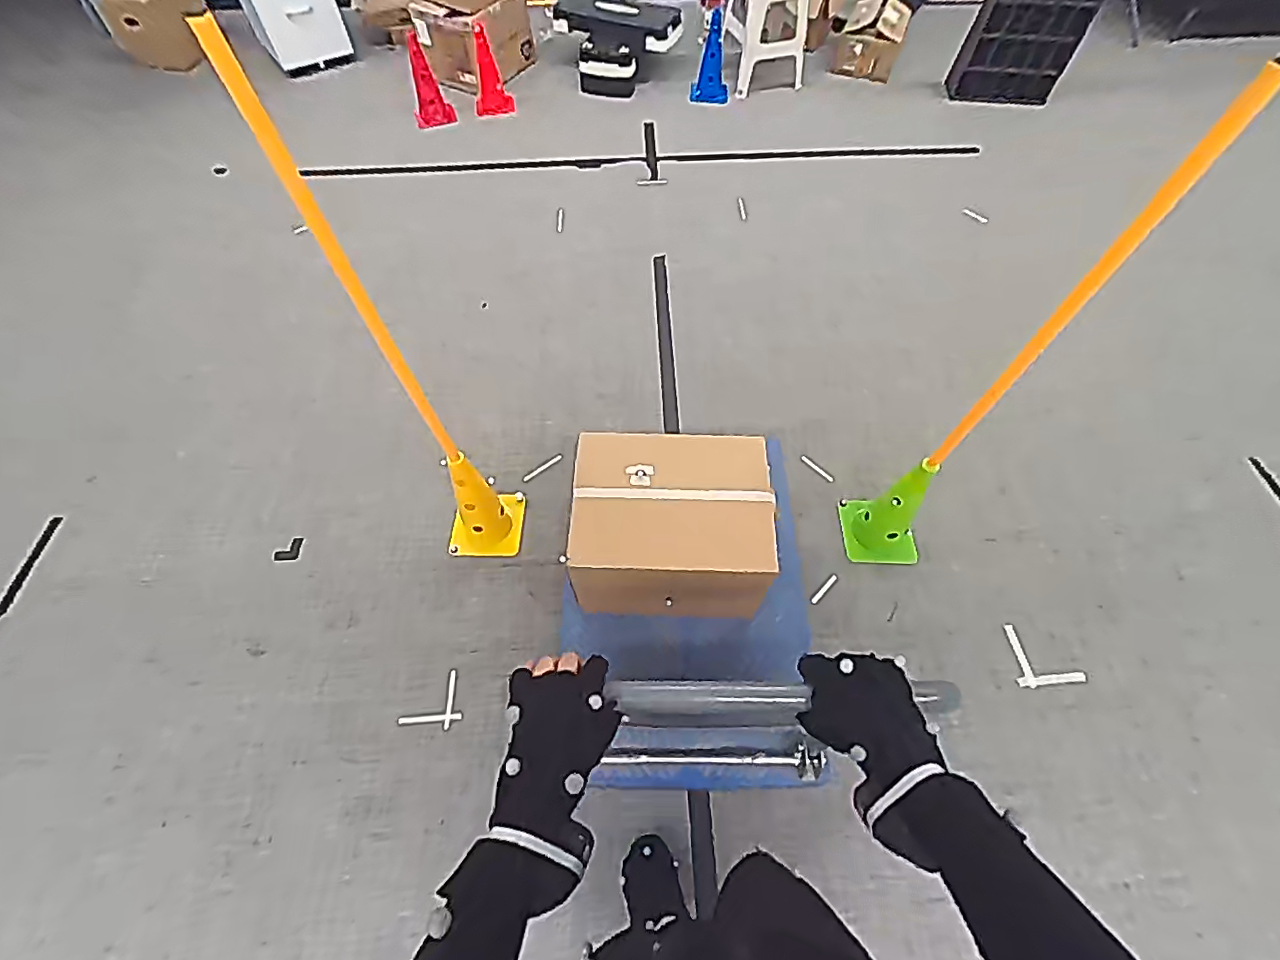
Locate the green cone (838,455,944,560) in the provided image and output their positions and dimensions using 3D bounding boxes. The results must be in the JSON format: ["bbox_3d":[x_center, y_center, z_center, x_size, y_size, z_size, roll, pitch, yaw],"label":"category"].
[{"bbox_3d":[0.691,0.051,1.429,0.202,0.368,0.200,2,59,0],"label":"green cone"}]

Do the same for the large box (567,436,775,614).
[{"bbox_3d":[0.066,0.112,1.228,0.408,0.320,0.320,1,59,2],"label":"large box"}]
